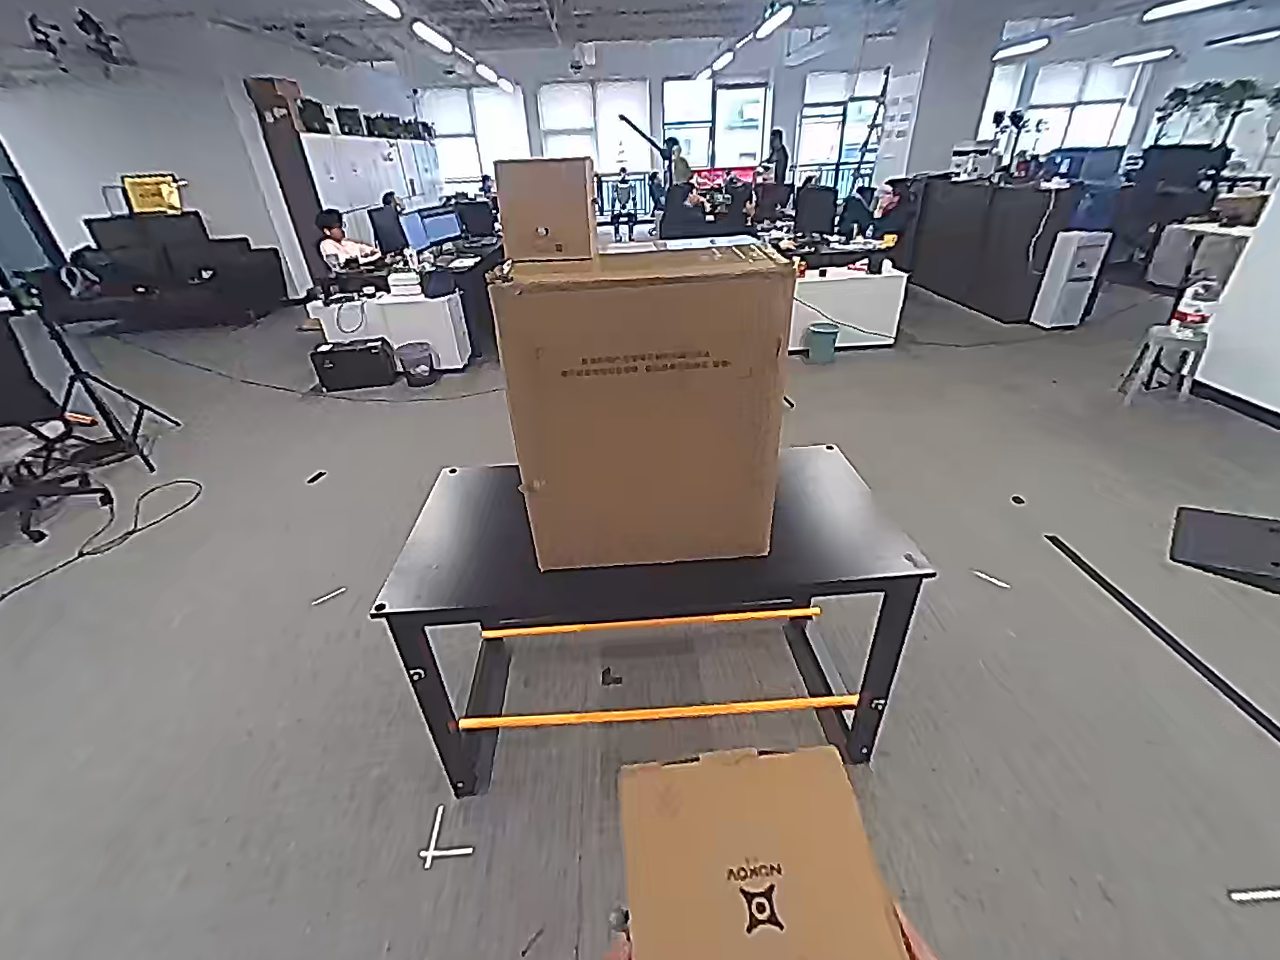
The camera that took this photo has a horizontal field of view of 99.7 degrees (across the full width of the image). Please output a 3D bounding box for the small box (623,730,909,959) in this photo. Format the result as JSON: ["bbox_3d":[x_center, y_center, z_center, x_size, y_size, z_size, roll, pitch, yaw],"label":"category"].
[{"bbox_3d":[0.074,0.316,0.405,0.168,0.176,0.179,-5,44,-4],"label":"small box"}]

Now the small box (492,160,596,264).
[{"bbox_3d":[-0.177,-0.524,1.056,0.168,0.176,0.179,-2,31,1],"label":"small box"}]
